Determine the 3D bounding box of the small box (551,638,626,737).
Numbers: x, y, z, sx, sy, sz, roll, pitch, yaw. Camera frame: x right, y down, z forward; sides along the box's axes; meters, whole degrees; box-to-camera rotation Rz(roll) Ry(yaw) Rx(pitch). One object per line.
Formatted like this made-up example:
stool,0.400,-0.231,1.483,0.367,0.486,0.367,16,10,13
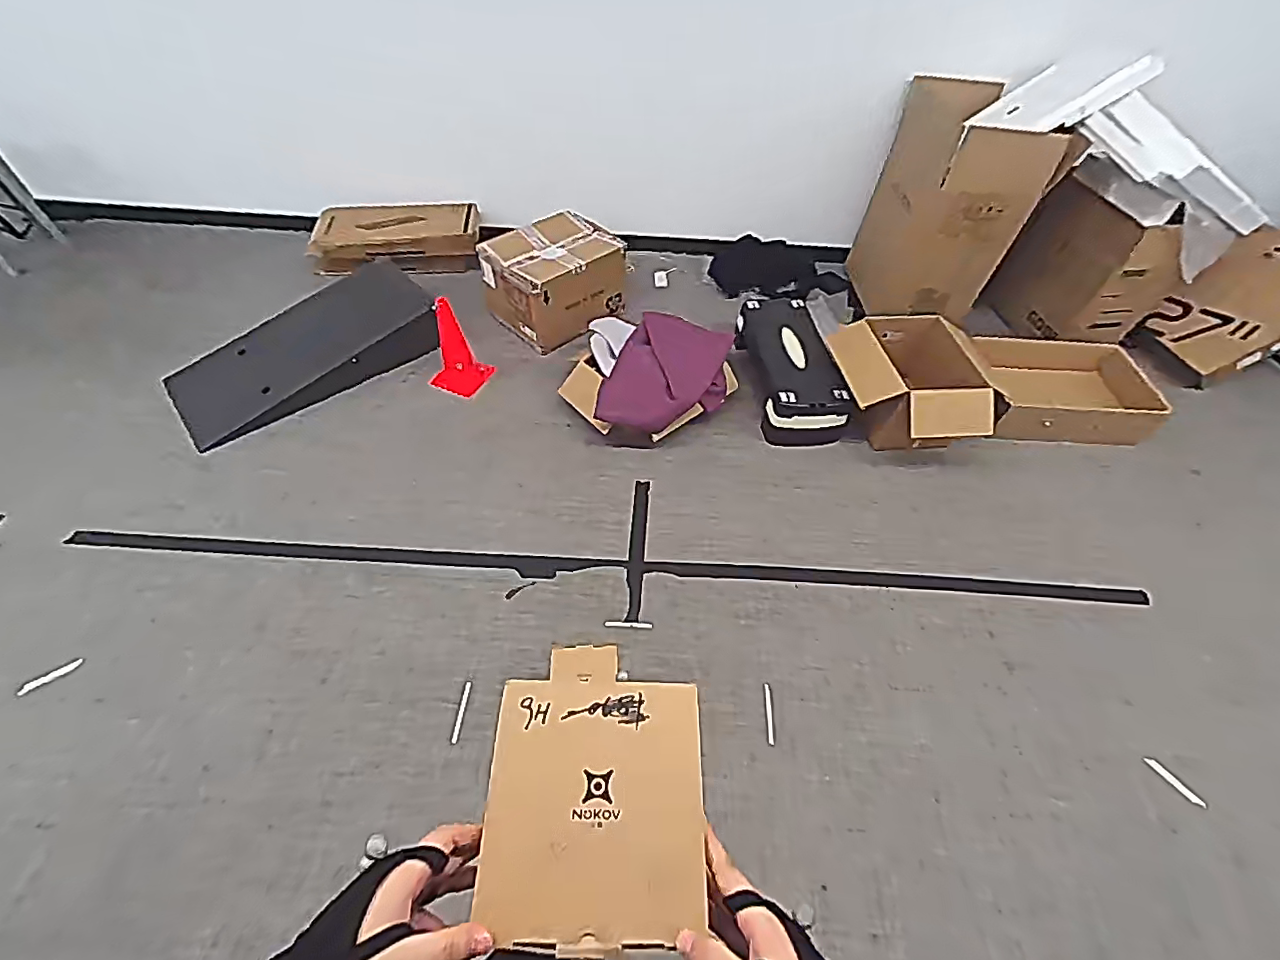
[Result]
small box,-0.119,0.492,1.281,0.168,0.176,0.179,-2,53,-3
